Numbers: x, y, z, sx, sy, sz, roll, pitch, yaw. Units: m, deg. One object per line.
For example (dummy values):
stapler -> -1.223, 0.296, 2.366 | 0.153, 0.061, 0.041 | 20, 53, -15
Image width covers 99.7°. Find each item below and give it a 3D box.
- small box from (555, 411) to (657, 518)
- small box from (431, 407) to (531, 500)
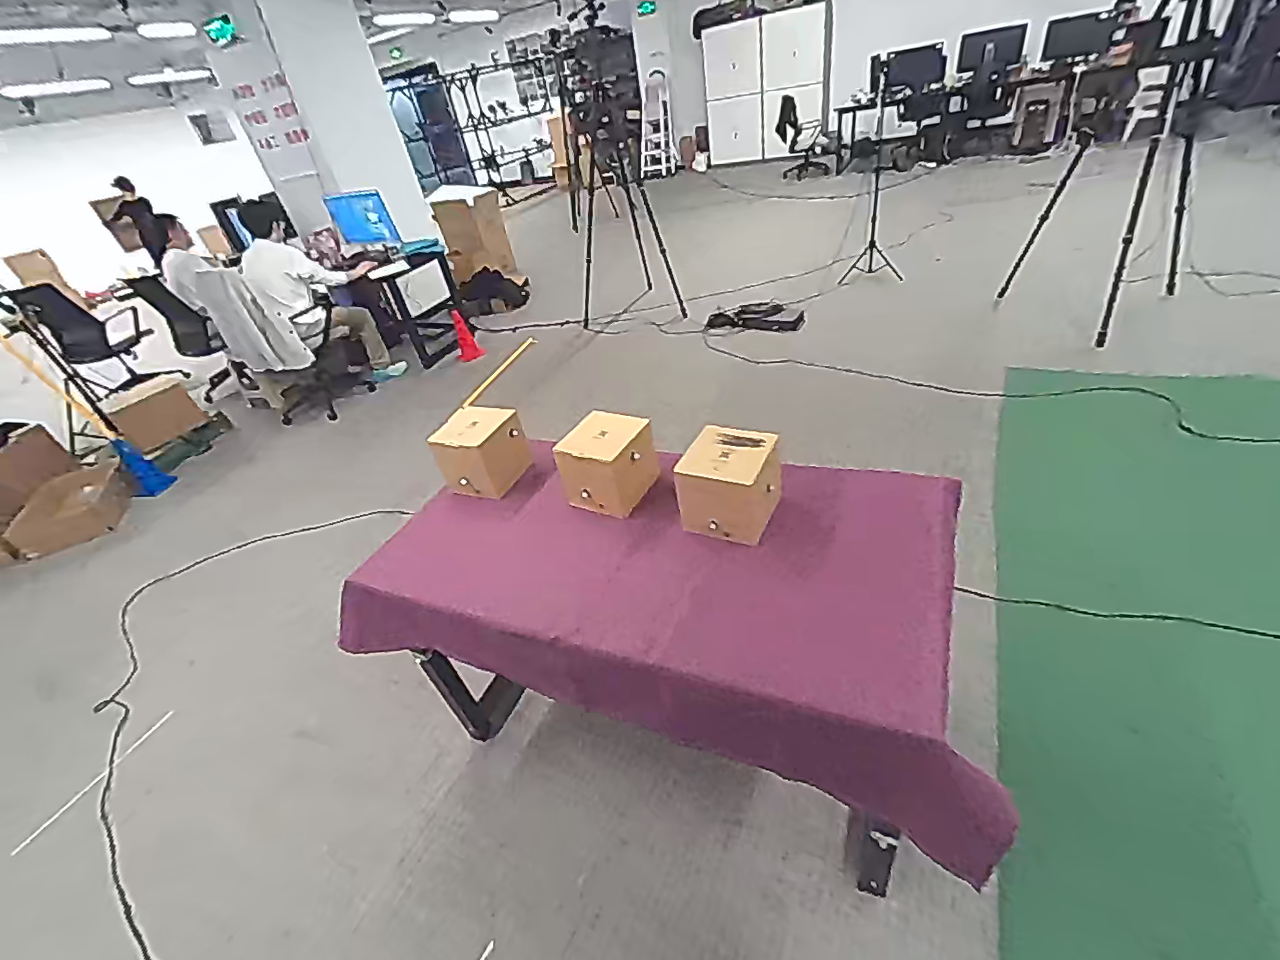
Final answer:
small box -> -0.071, -0.039, 1.291 | 0.168, 0.176, 0.179 | 13, 44, 30
small box -> -0.410, -0.073, 1.431 | 0.168, 0.176, 0.179 | 7, 41, 25
